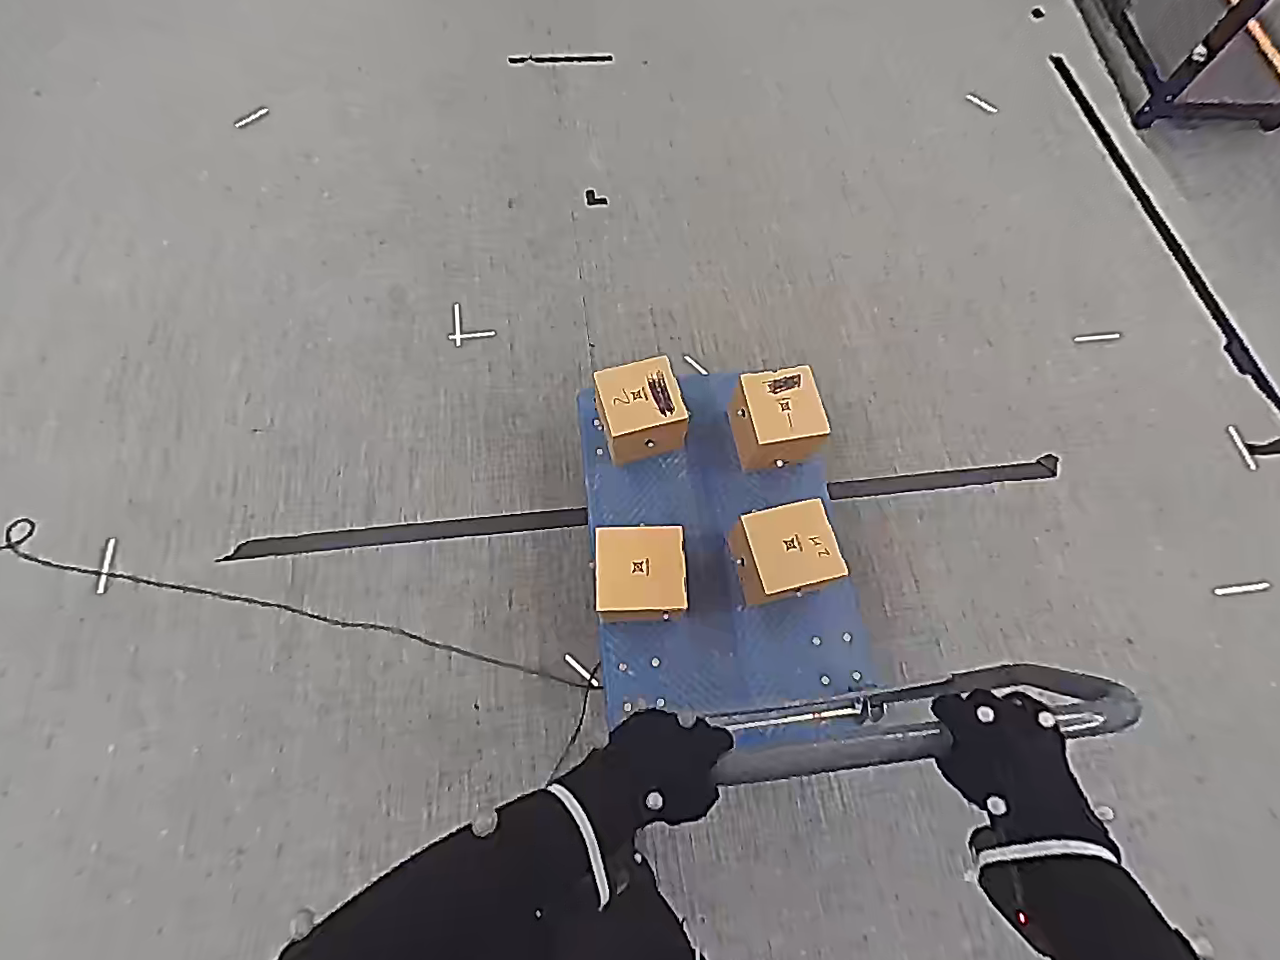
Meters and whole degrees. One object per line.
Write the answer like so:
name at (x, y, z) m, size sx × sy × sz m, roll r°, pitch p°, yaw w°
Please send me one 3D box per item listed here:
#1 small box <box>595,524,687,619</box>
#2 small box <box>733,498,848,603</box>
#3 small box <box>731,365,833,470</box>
small box at (-0.001, 0.194, 1.123) m, size 0.179 × 0.176 × 0.168 m, roll -1°, pitch 69°, yaw -3°
small box at (0.304, 0.155, 1.143) m, size 0.179 × 0.176 × 0.168 m, roll -11°, pitch 70°, yaw -6°
small box at (0.319, -0.141, 1.256) m, size 0.168 × 0.176 × 0.179 m, roll -9°, pitch 71°, yaw -4°
